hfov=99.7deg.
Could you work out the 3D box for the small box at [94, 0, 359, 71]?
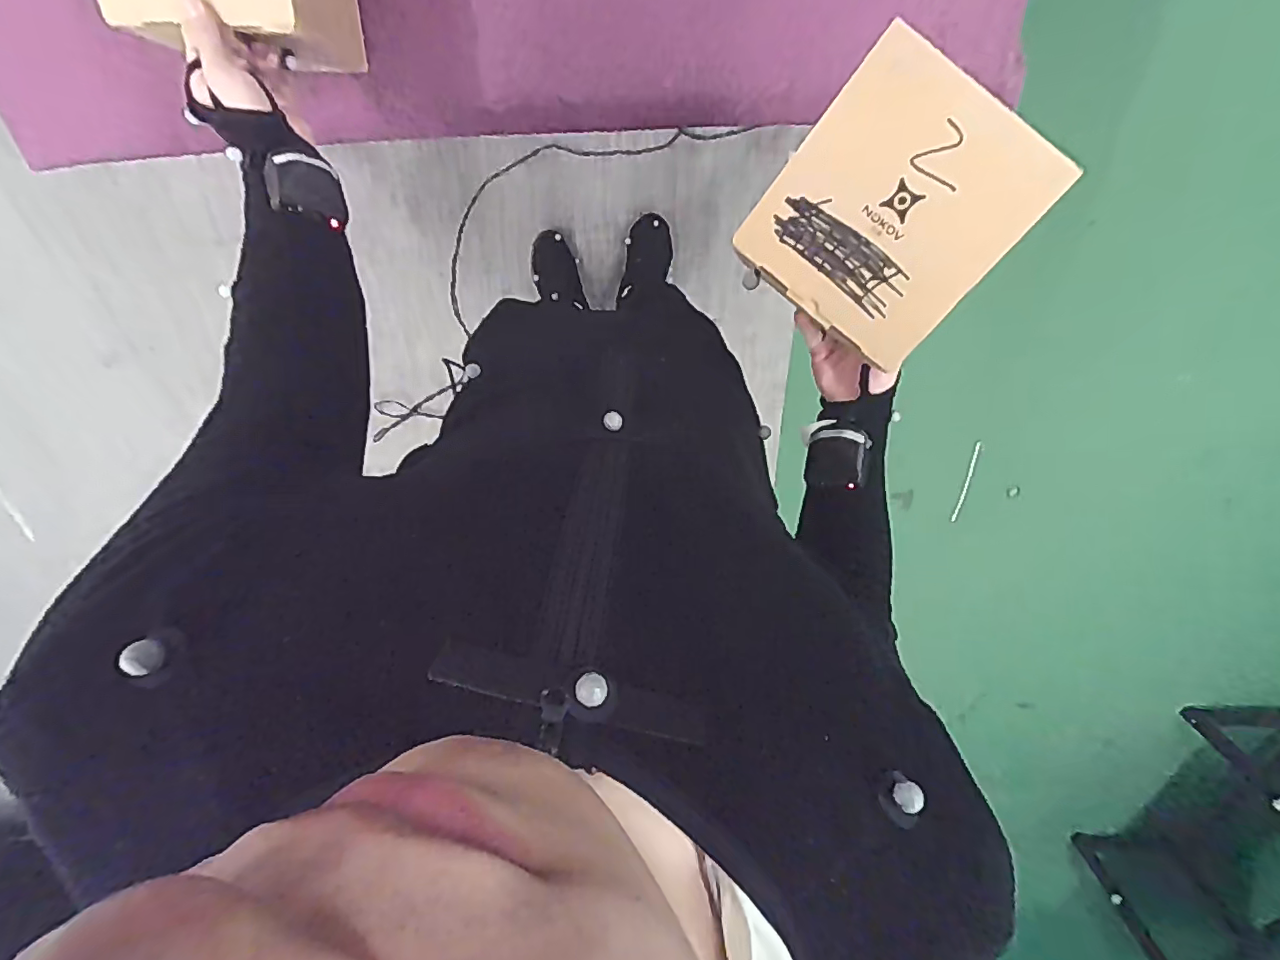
[{"bbox_3d":[-0.392,-0.513,0.513,0.168,0.176,0.179,0,116,-4],"label":"small box"}]
